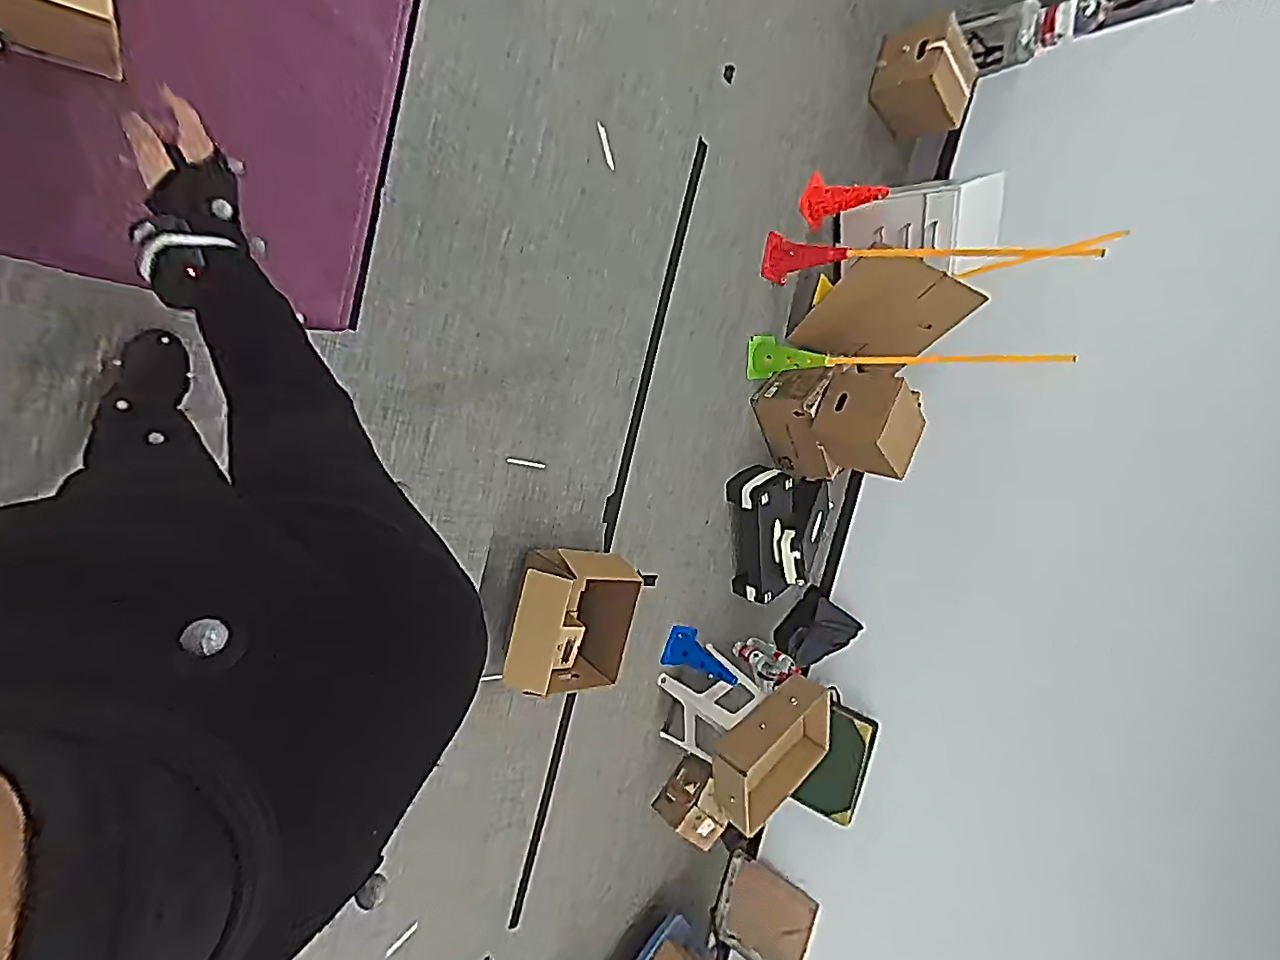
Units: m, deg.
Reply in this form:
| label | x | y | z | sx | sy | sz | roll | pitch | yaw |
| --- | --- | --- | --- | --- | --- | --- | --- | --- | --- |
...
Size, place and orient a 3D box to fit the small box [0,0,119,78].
| label | x | y | z | sx | sy | sz | roll | pitch | yaw |
| --- | --- | --- | --- | --- | --- | --- | --- | --- | --- |
| small box | -0.557 | -0.483 | 0.449 | 0.168 | 0.176 | 0.179 | -7 | 109 | -41 |
